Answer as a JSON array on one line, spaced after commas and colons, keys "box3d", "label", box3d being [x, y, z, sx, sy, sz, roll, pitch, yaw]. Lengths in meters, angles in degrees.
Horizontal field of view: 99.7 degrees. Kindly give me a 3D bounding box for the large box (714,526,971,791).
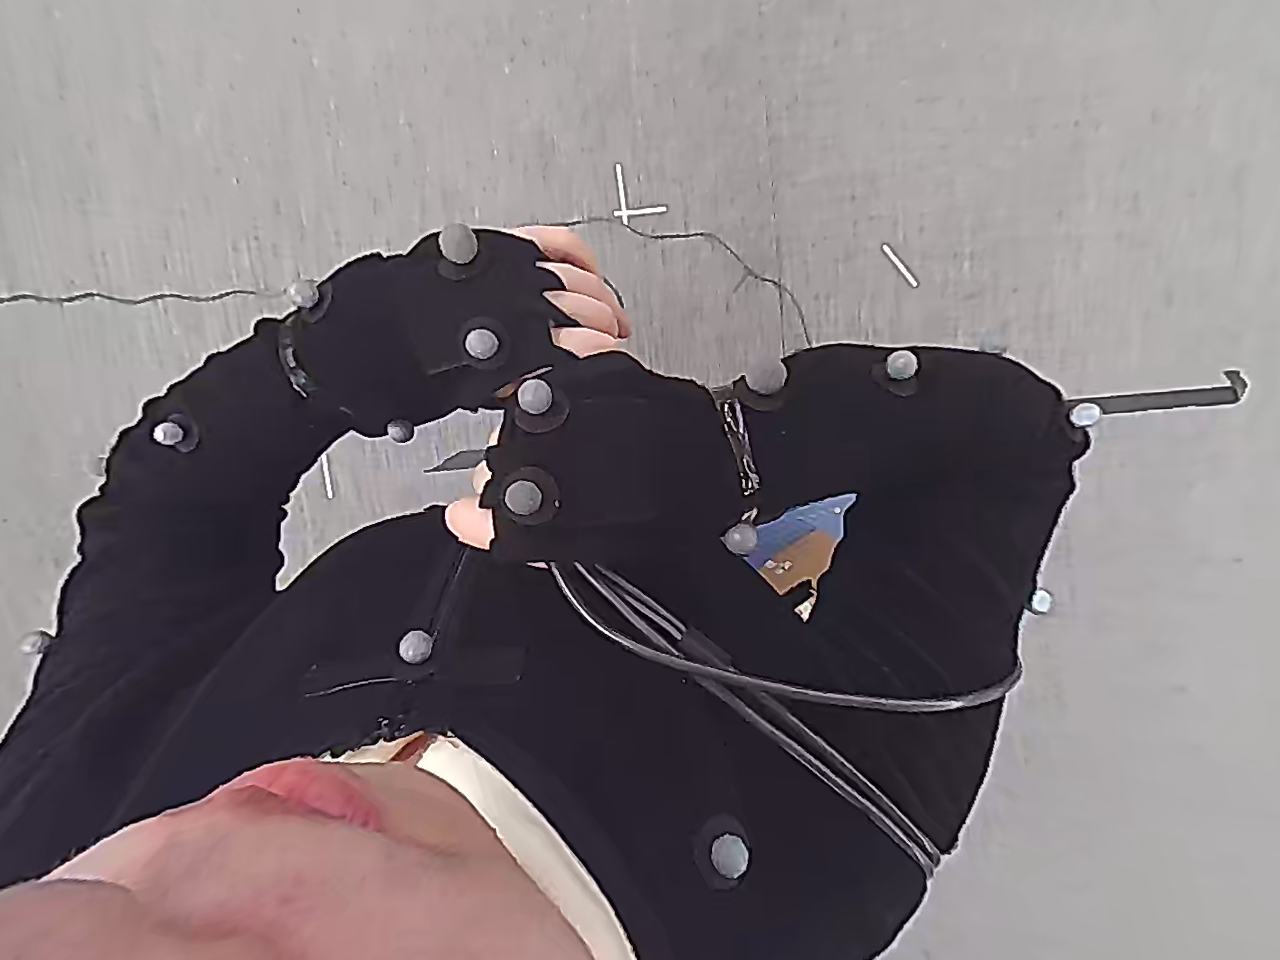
[{"box3d": [0.424, 0.373, 1.217, 0.320, 0.320, 0.408, -35, 98, 4], "label": "large box"}]
